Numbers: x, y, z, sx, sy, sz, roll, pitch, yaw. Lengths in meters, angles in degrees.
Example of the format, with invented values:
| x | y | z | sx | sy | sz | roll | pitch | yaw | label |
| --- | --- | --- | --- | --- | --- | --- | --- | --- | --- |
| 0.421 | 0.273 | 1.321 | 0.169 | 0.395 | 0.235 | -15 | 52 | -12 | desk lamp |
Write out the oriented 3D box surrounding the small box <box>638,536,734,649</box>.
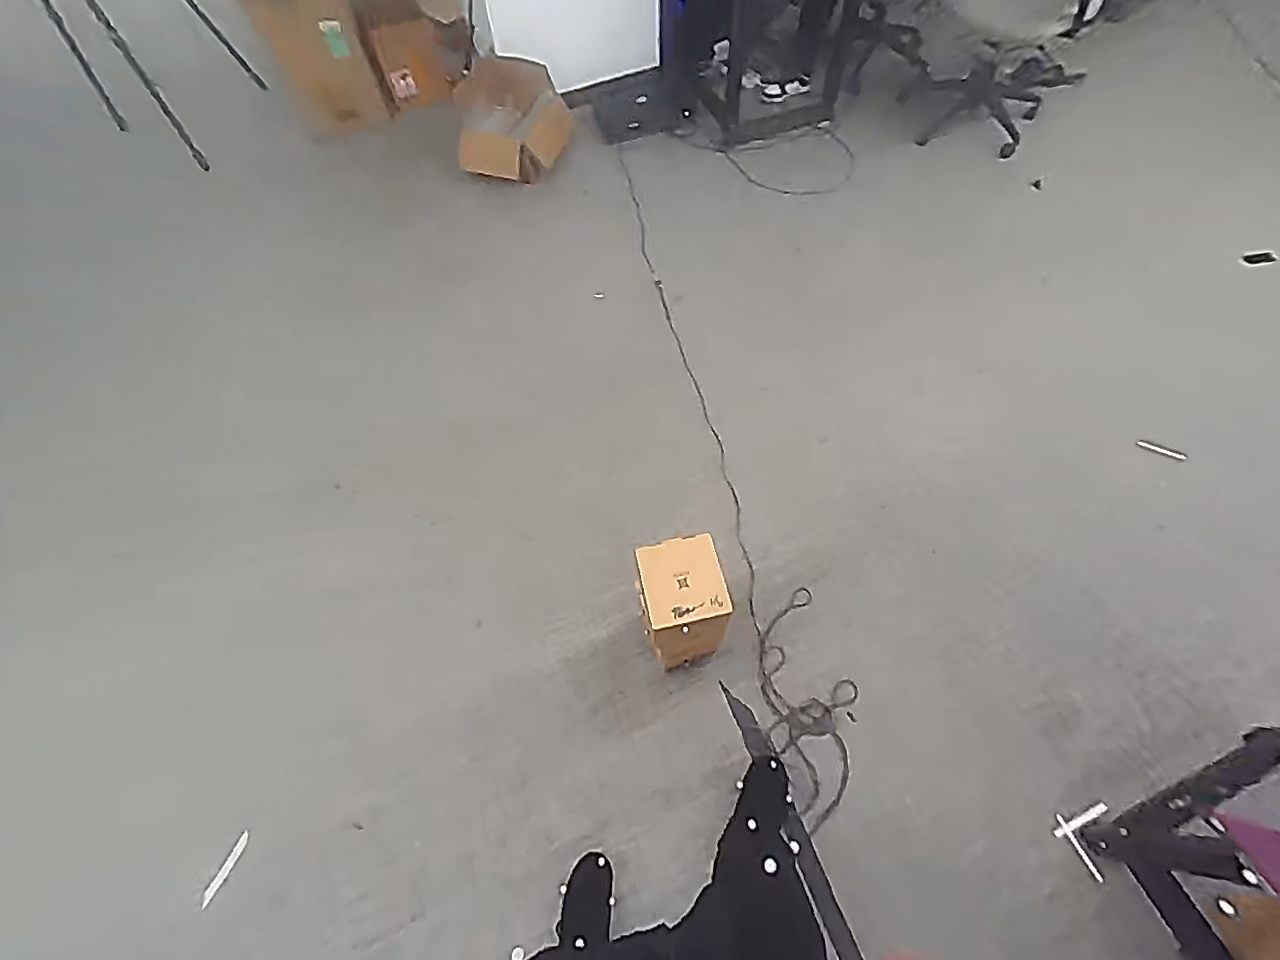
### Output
| x | y | z | sx | sy | sz | roll | pitch | yaw | label |
| --- | --- | --- | --- | --- | --- | --- | --- | --- | --- |
| 0.092 | 0.246 | 1.166 | 0.168 | 0.176 | 0.179 | -12 | 61 | -3 | small box |

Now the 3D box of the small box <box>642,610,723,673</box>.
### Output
| x | y | z | sx | sy | sz | roll | pitch | yaw | label |
| --- | --- | --- | --- | --- | --- | --- | --- | --- | --- |
| 0.107 | 0.397 | 1.455 | 0.168 | 0.176 | 0.179 | -20 | 63 | -7 | small box |

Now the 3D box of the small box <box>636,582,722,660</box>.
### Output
| x | y | z | sx | sy | sz | roll | pitch | yaw | label |
| --- | --- | --- | --- | --- | --- | --- | --- | --- | --- |
| 0.101 | 0.321 | 1.312 | 0.179 | 0.176 | 0.168 | -18 | 62 | -7 | small box |
